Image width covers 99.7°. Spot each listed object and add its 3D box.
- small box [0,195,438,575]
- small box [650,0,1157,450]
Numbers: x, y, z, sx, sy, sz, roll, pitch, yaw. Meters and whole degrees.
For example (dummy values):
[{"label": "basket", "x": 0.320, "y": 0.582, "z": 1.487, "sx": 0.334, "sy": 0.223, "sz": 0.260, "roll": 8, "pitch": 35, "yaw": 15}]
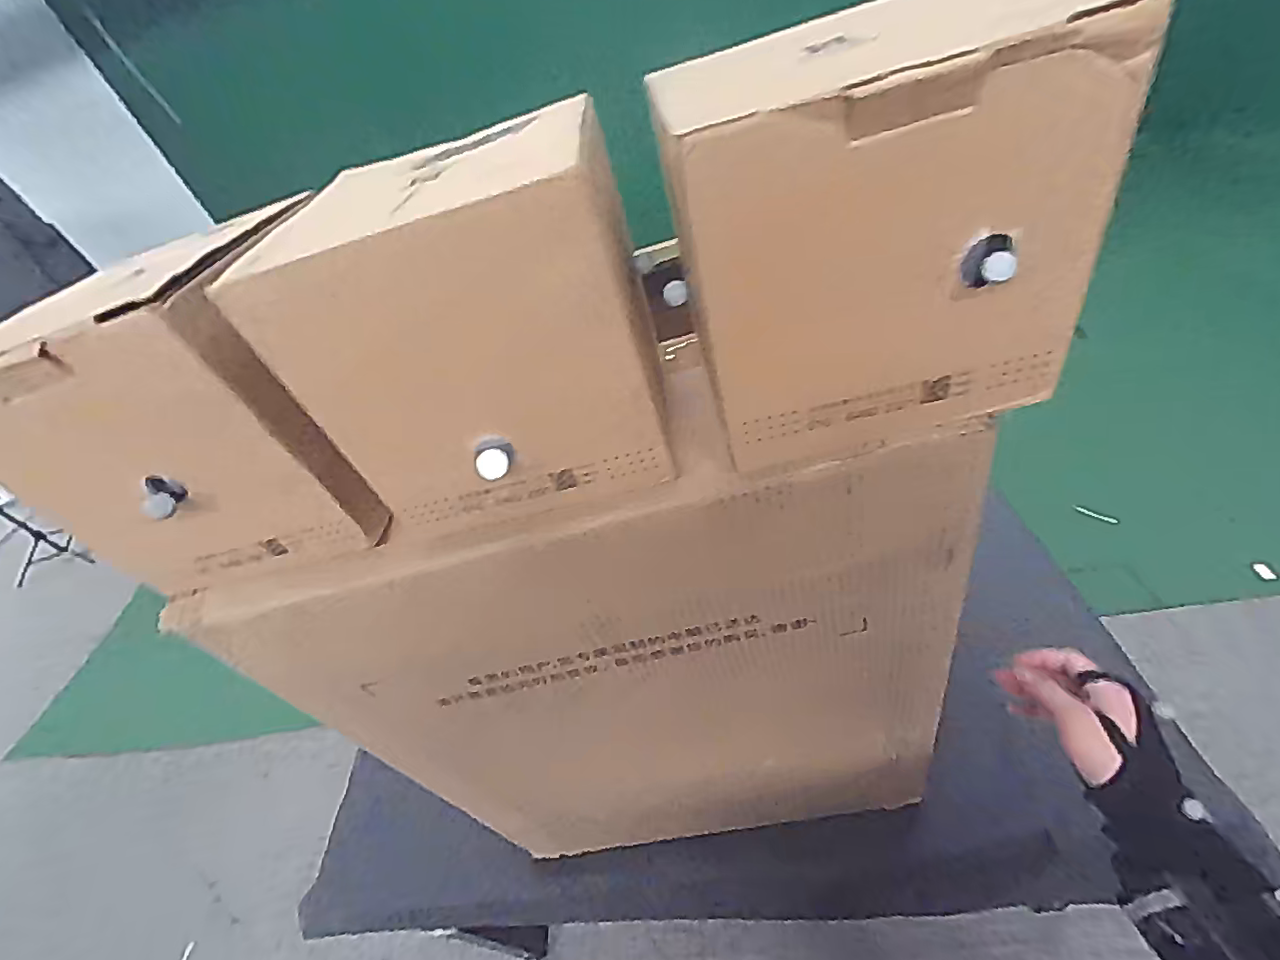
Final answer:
[{"label": "small box", "x": -0.262, "y": -0.054, "z": 0.362, "sx": 0.168, "sy": 0.176, "sz": 0.179, "roll": -13, "pitch": 42, "yaw": 9}, {"label": "small box", "x": 0.107, "y": -0.133, "z": 0.301, "sx": 0.168, "sy": 0.176, "sz": 0.179, "roll": -12, "pitch": 41, "yaw": 6}]
